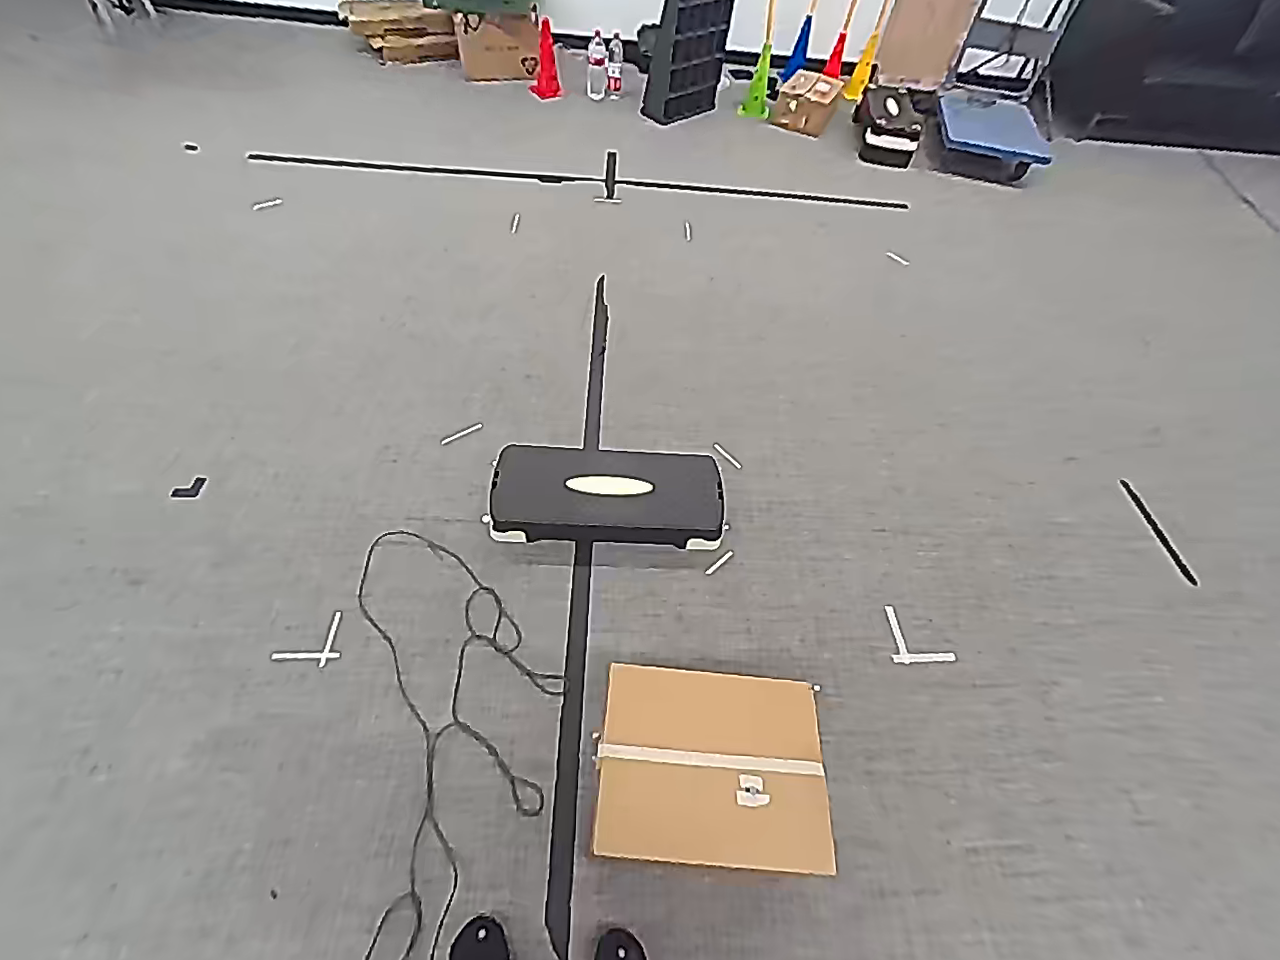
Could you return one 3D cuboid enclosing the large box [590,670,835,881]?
[{"bbox_3d":[0.116,0.599,1.084,0.408,0.320,0.320,7,53,-2],"label":"large box"}]
